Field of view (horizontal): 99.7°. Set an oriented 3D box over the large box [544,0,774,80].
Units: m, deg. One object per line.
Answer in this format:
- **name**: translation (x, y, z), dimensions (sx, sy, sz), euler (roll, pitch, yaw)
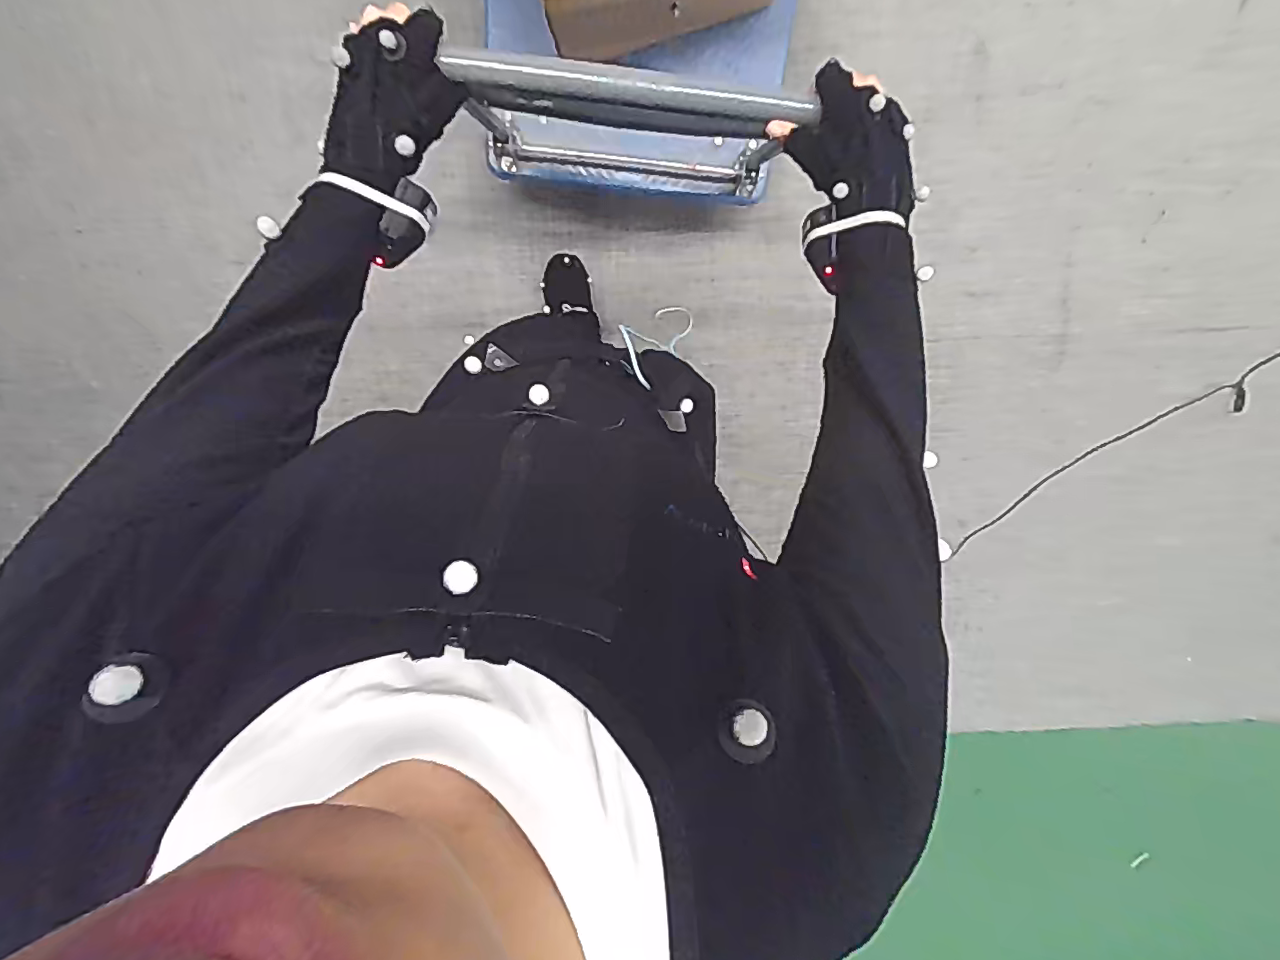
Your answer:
- **large box**: translation (0.017, -0.915, 0.850), dimensions (0.408, 0.320, 0.320), euler (-15, 109, 6)
